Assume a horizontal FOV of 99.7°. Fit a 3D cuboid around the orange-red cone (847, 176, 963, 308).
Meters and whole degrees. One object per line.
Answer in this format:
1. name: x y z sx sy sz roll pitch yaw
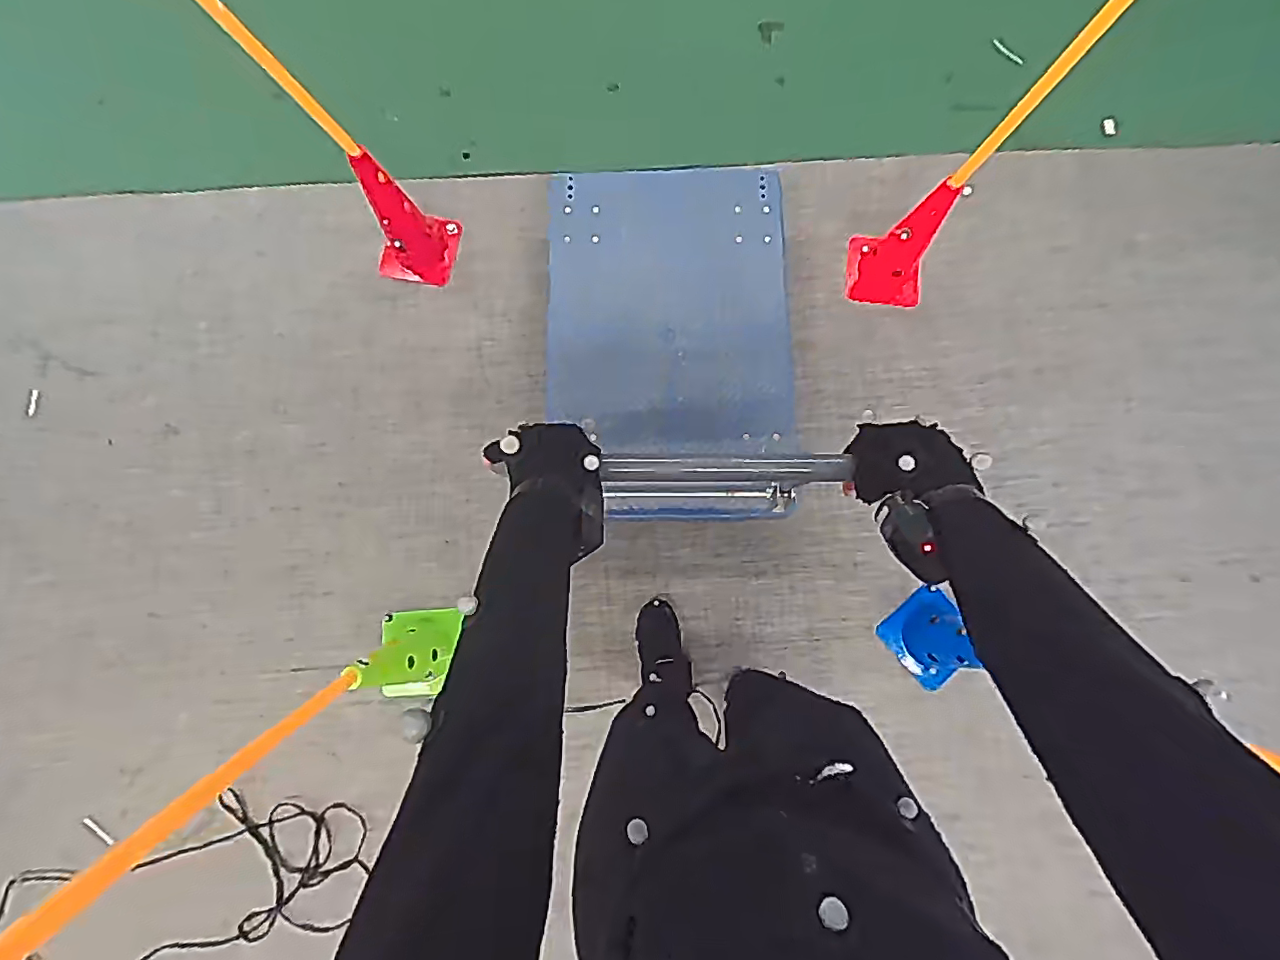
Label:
1. orange-red cone: 0.680 -0.607 1.336 0.198 0.360 0.199 8 81 2
